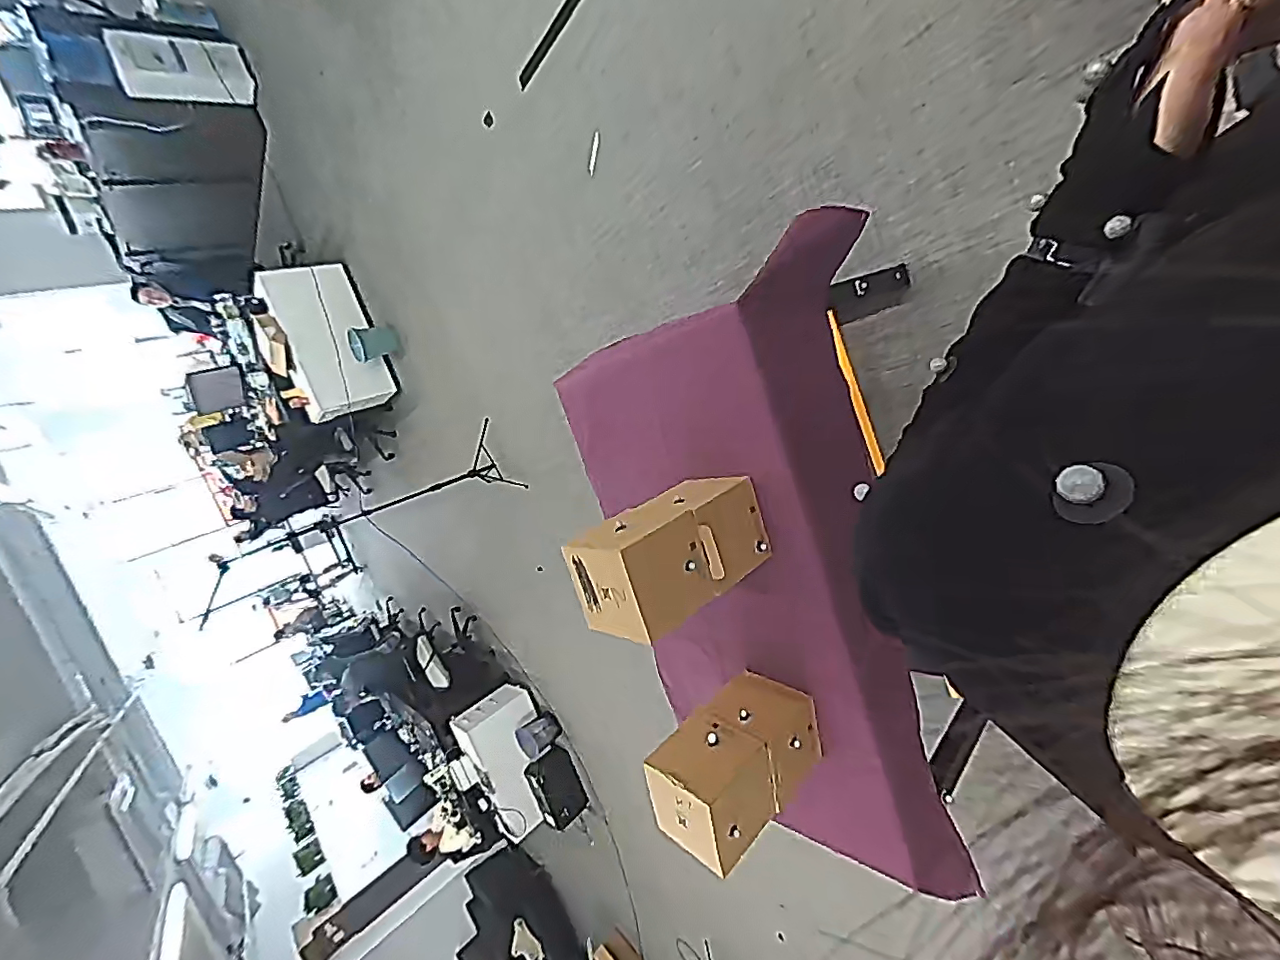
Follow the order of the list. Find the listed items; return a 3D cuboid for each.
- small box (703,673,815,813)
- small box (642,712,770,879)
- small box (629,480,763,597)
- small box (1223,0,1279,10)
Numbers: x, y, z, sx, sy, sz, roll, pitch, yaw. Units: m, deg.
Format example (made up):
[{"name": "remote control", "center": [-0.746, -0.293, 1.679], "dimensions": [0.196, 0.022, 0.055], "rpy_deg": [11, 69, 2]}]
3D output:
[{"name": "small box", "center": [0.251, 0.538, 1.134], "dimensions": [0.179, 0.176, 0.168], "rpy_deg": [7, 115, 48]}, {"name": "small box", "center": [0.132, 0.590, 1.034], "dimensions": [0.168, 0.176, 0.179], "rpy_deg": [7, 115, 46]}, {"name": "small box", "center": [0.115, 0.104, 1.039], "dimensions": [0.179, 0.176, 0.168], "rpy_deg": [-5, 107, 51]}, {"name": "small box", "center": [0.308, -0.293, 0.166], "dimensions": [0.179, 0.176, 0.168], "rpy_deg": [3, 115, 46]}]
